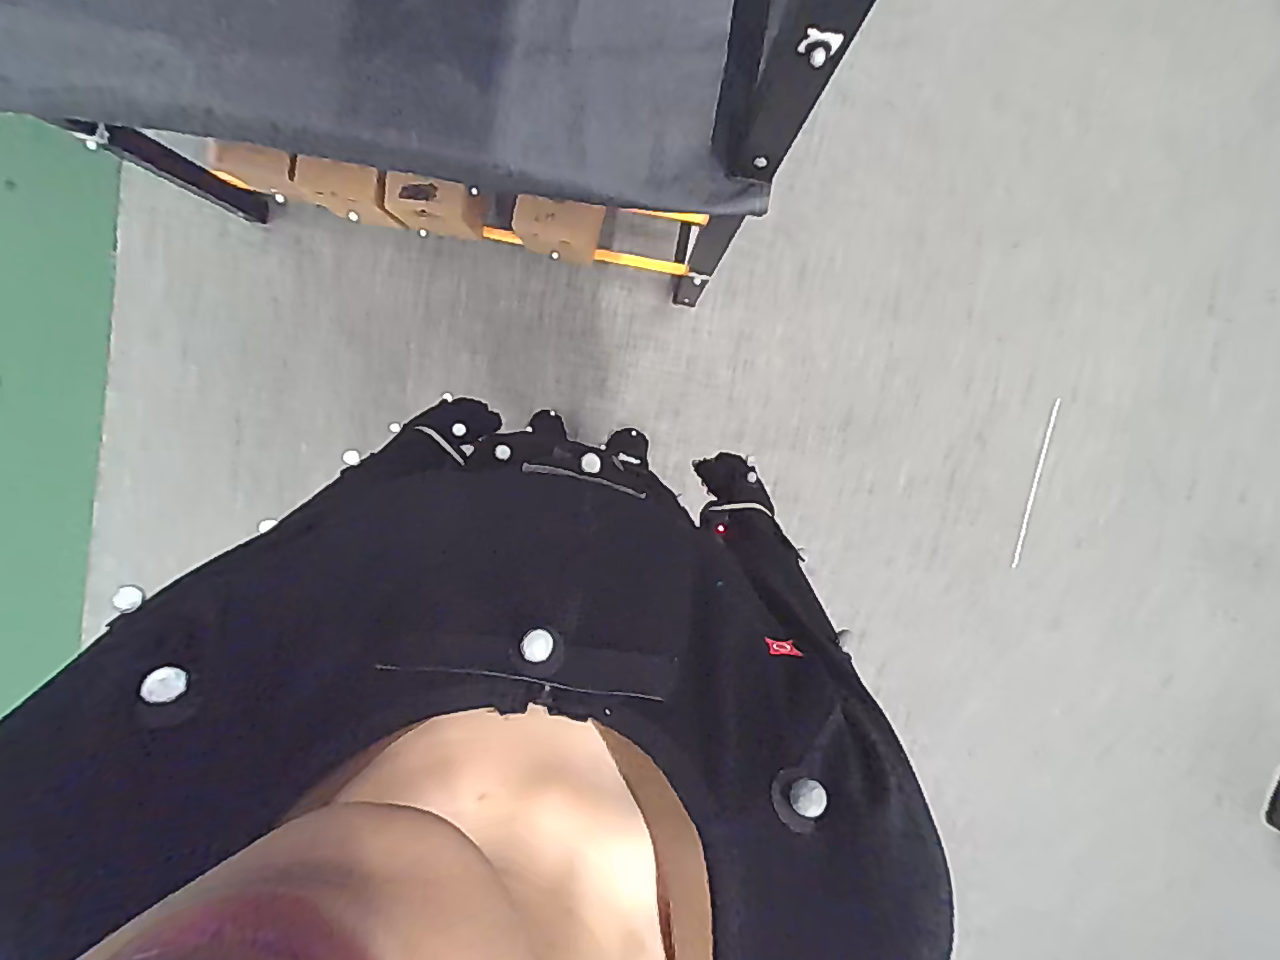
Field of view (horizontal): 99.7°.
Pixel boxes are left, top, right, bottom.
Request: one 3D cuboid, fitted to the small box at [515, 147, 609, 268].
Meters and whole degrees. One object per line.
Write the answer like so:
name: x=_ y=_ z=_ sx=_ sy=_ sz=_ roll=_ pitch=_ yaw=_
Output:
small box: x=-0.170 y=-0.609 z=1.230 sx=0.168 sy=0.176 sz=0.179 roll=15 pitch=98 yaw=-2
